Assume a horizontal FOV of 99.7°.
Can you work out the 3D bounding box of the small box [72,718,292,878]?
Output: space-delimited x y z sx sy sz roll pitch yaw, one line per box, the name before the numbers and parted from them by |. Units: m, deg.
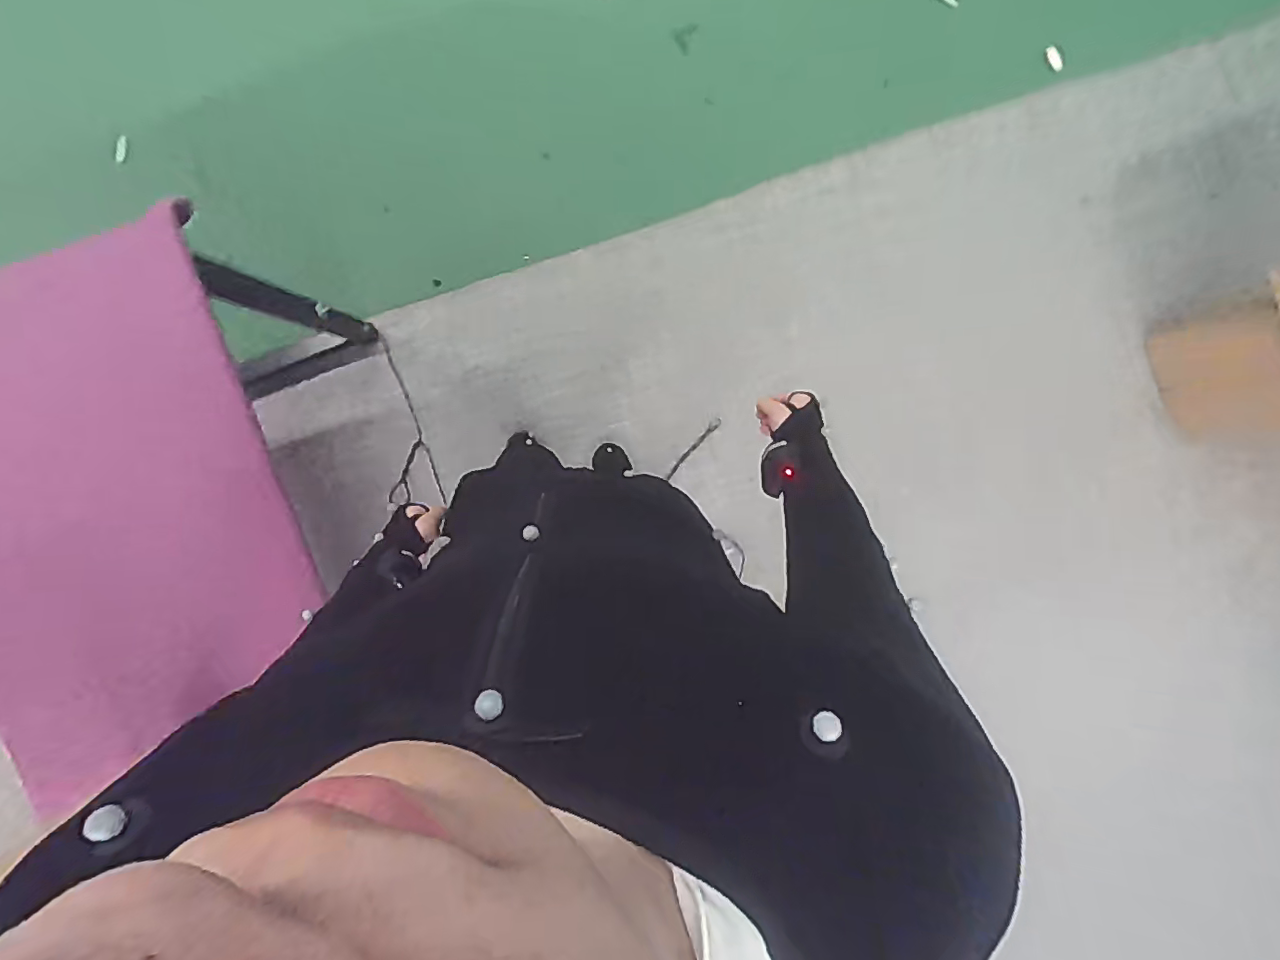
small box | -0.709 0.514 0.858 0.179 0.176 0.168 -20 95 2
